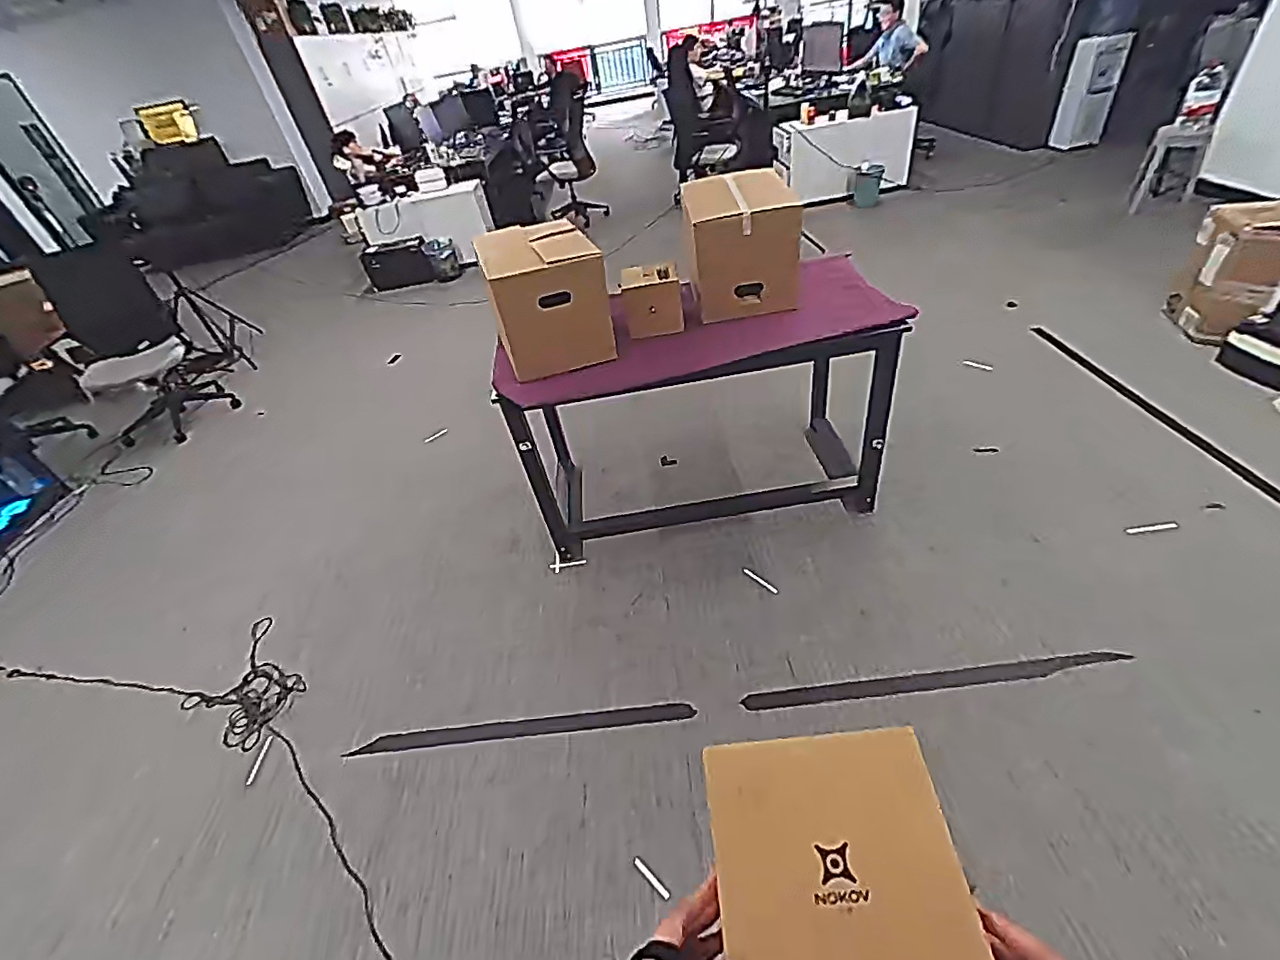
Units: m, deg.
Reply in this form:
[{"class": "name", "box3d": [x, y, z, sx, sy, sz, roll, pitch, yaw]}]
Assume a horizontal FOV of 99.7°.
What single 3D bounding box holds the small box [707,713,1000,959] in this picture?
[{"class": "small box", "box3d": [0.145, 0.308, 0.431, 0.168, 0.176, 0.179, -7, 49, 4]}]
